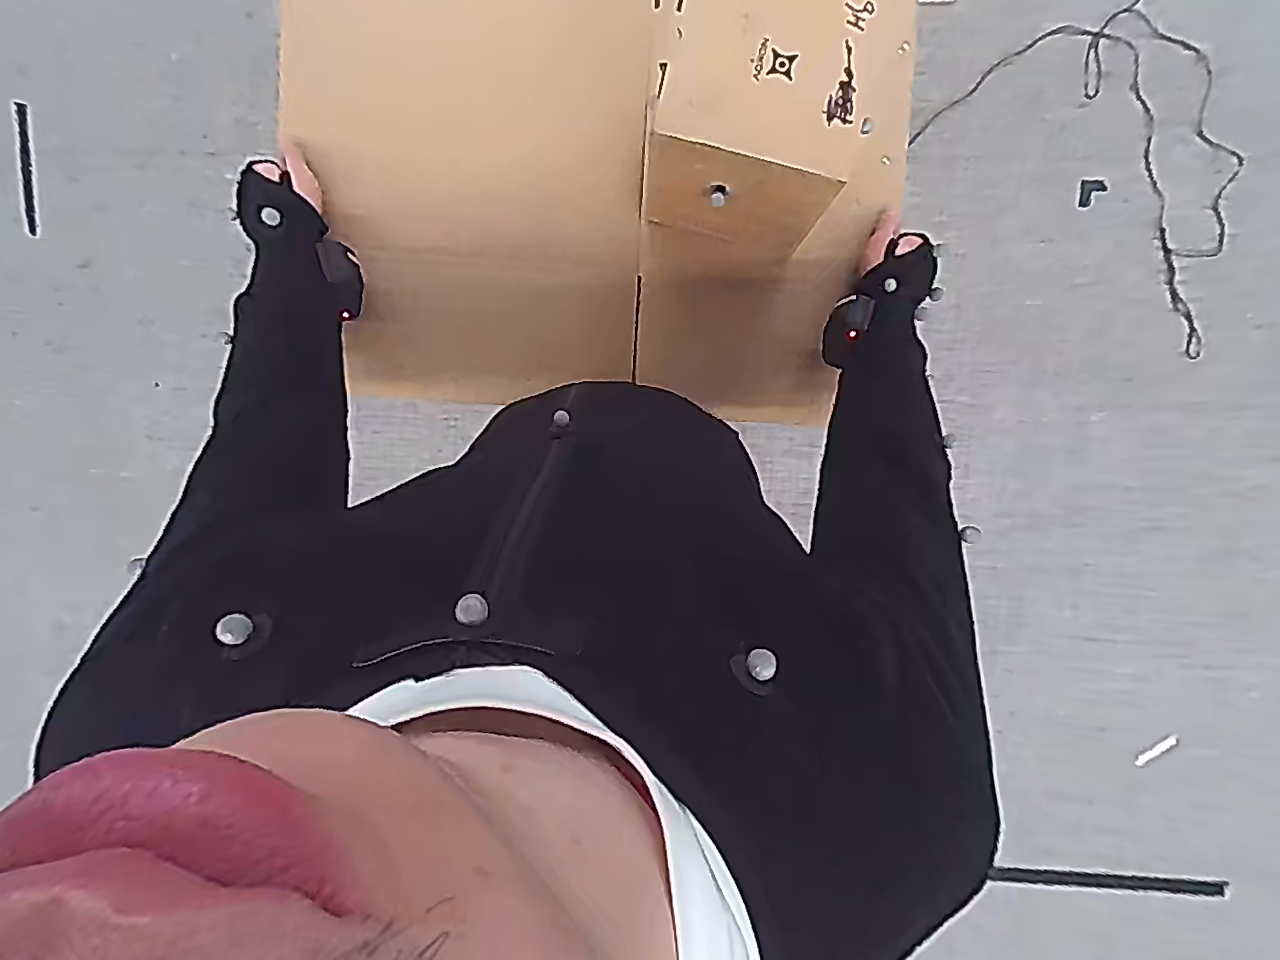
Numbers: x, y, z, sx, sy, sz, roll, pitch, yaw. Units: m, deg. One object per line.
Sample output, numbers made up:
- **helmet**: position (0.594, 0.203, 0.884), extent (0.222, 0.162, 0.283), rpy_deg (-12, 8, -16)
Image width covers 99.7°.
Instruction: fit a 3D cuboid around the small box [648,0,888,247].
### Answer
- **small box**: position (0.111, -0.360, 0.544), extent (0.179, 0.176, 0.168), rpy_deg (14, 92, 0)
